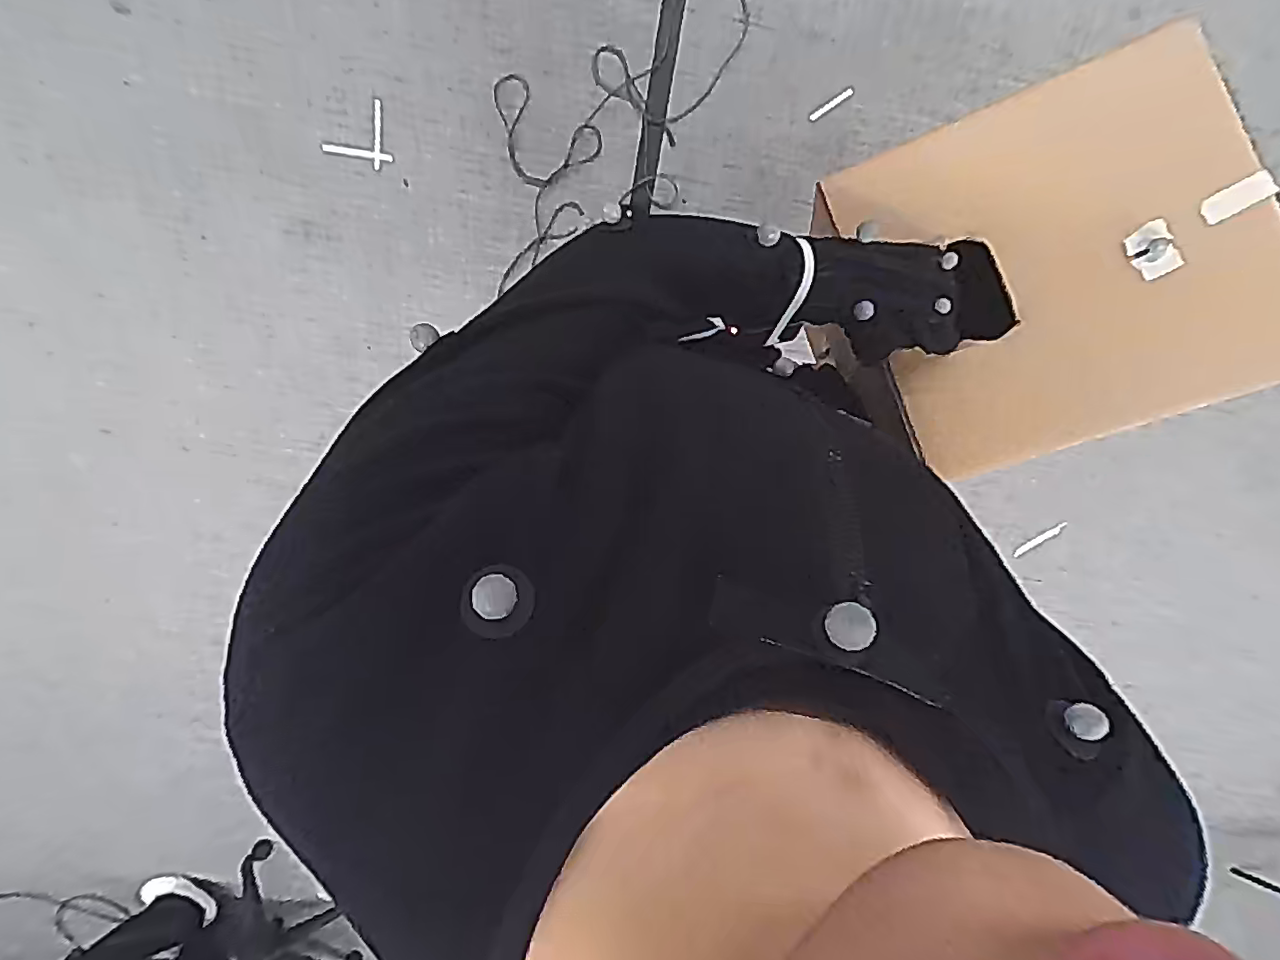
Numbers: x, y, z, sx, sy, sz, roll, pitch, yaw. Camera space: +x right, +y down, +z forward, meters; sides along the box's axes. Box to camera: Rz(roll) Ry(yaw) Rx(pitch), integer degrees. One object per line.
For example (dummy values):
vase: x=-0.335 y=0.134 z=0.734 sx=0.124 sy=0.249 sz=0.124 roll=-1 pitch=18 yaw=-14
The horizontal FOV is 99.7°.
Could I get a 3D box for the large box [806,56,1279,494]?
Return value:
large box: x=0.411 y=-0.175 z=0.670 sx=0.320 sy=0.408 sz=0.320 roll=-18 pitch=84 yaw=14
